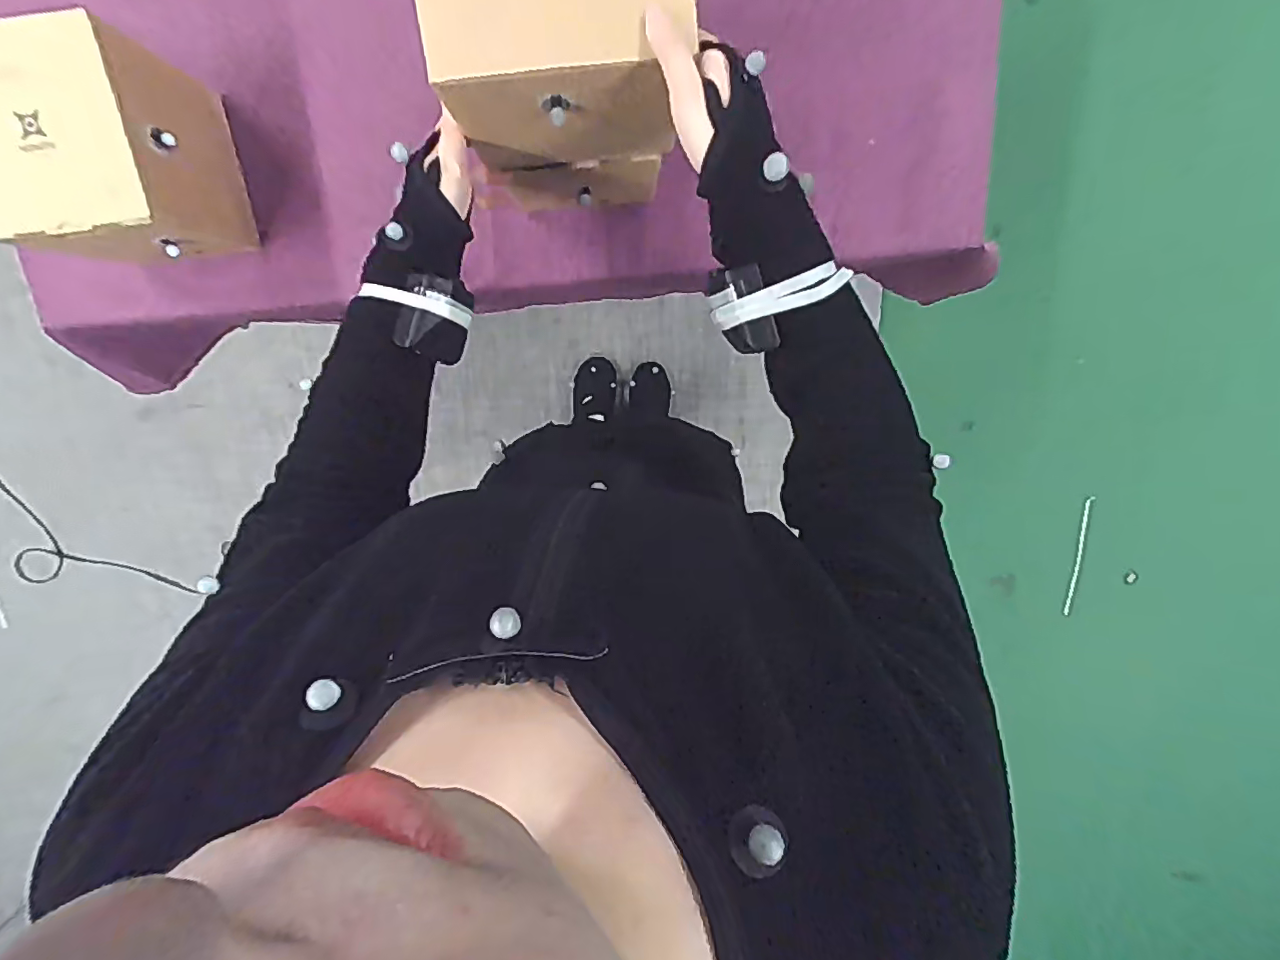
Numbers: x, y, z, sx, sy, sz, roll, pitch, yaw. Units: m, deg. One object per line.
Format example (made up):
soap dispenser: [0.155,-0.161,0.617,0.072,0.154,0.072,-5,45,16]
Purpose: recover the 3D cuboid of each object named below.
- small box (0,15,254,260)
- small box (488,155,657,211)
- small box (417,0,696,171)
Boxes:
small box: [-0.556,-0.338,0.574,0.168,0.176,0.179,-6,104,-1]
small box: [-0.070,-0.396,0.574,0.168,0.176,0.179,-5,105,-1]
small box: [-0.060,-0.353,0.410,0.179,0.176,0.168,-6,104,-2]
